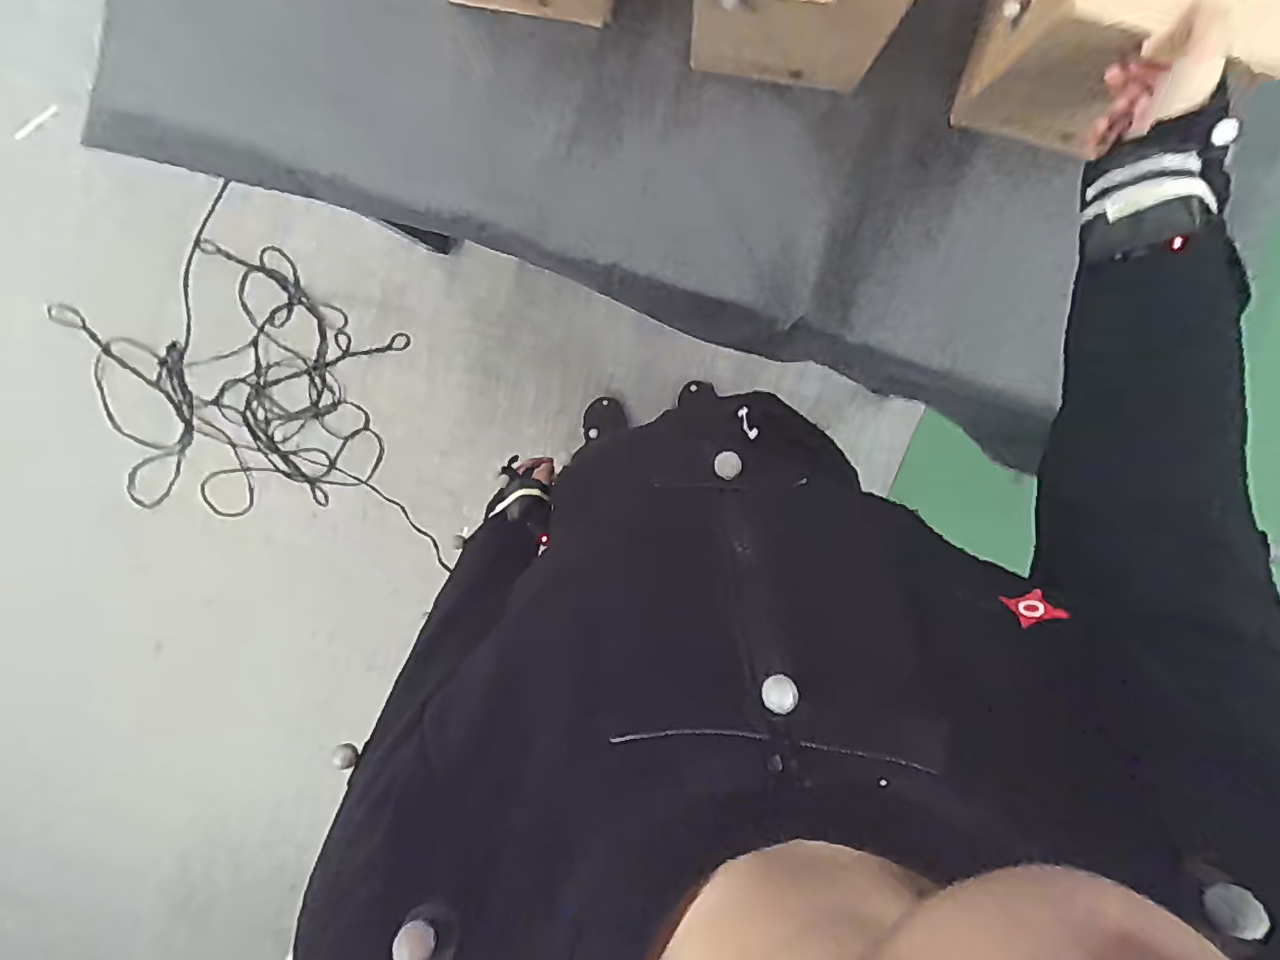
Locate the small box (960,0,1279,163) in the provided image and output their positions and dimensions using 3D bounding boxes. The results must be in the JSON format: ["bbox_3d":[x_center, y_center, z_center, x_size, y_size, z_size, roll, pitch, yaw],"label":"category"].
[{"bbox_3d":[0.405,-0.398,0.448,0.168,0.176,0.179,14,100,-1],"label":"small box"}]
